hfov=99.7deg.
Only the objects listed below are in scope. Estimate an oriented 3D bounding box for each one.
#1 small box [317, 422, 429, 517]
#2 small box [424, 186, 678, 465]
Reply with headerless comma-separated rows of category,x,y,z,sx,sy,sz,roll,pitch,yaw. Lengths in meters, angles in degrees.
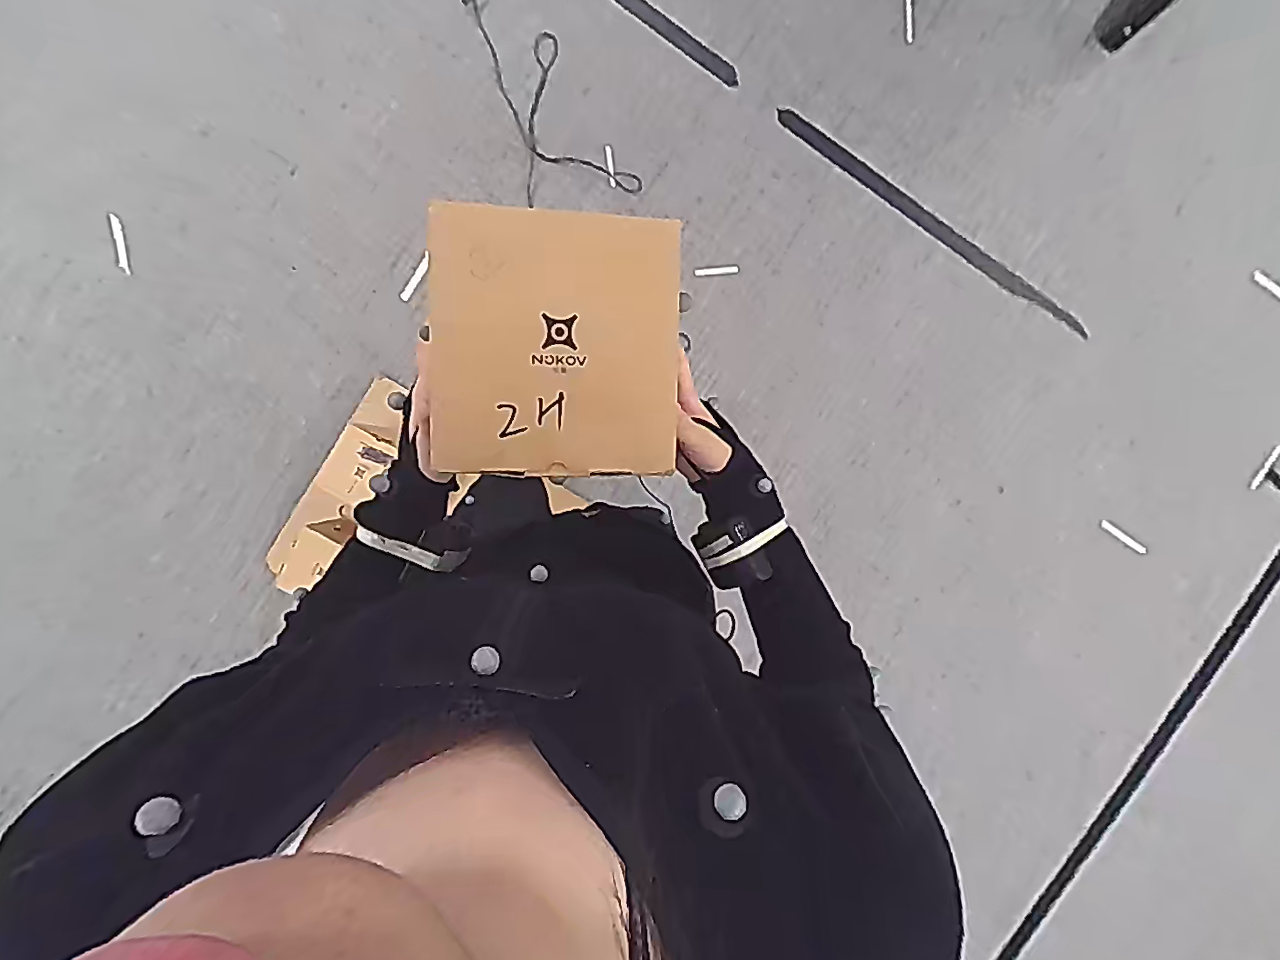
small box,-0.658,-0.026,1.363,0.168,0.176,0.179,29,91,-2
small box,-0.068,-0.103,0.433,0.168,0.176,0.179,0,95,-8
